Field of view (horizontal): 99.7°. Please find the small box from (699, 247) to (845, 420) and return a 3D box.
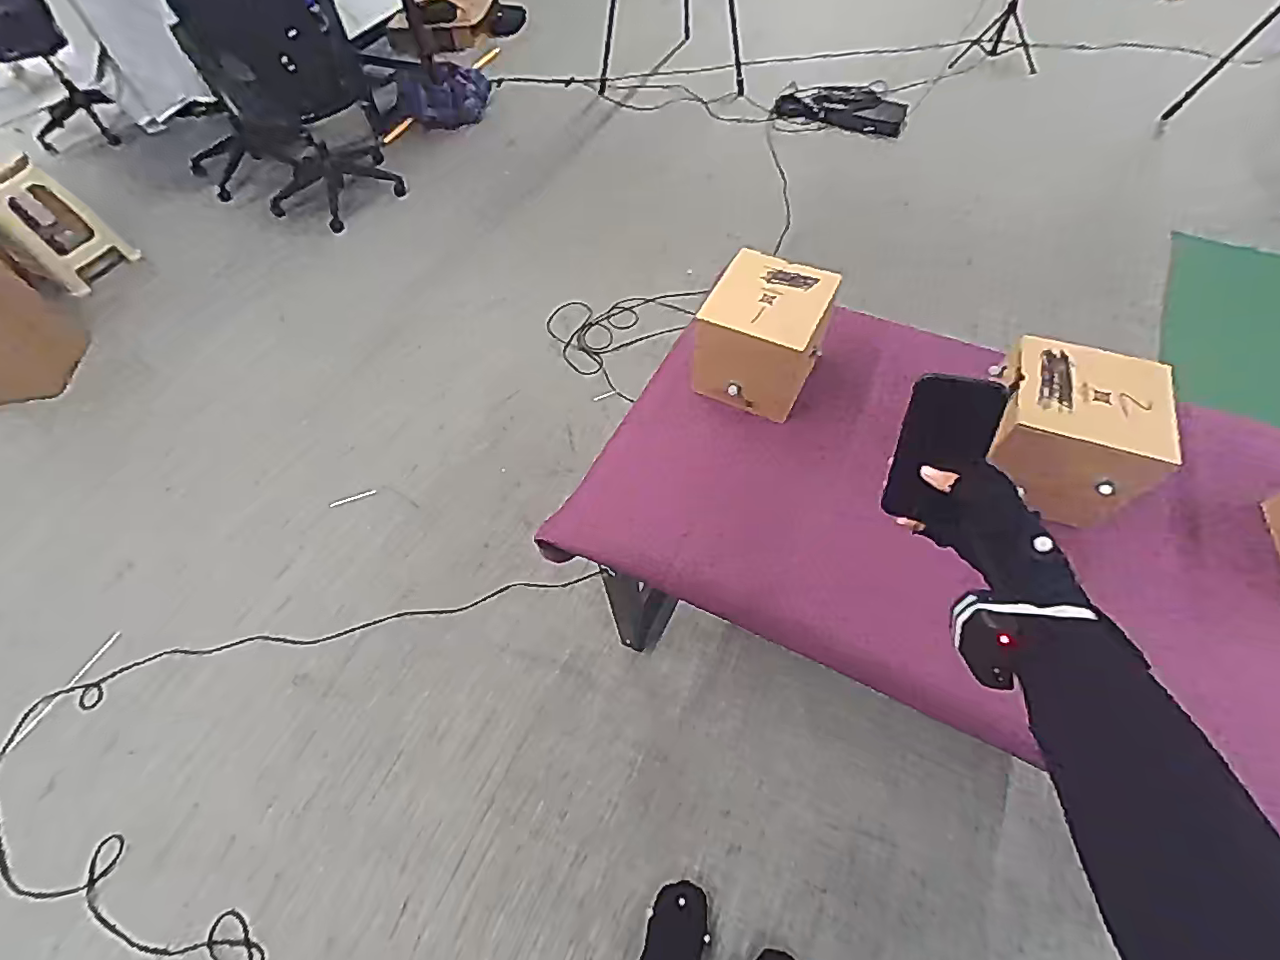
[{"bbox_3d":[0.200,-0.229,0.861,0.168,0.176,0.179,24,64,17],"label":"small box"}]
